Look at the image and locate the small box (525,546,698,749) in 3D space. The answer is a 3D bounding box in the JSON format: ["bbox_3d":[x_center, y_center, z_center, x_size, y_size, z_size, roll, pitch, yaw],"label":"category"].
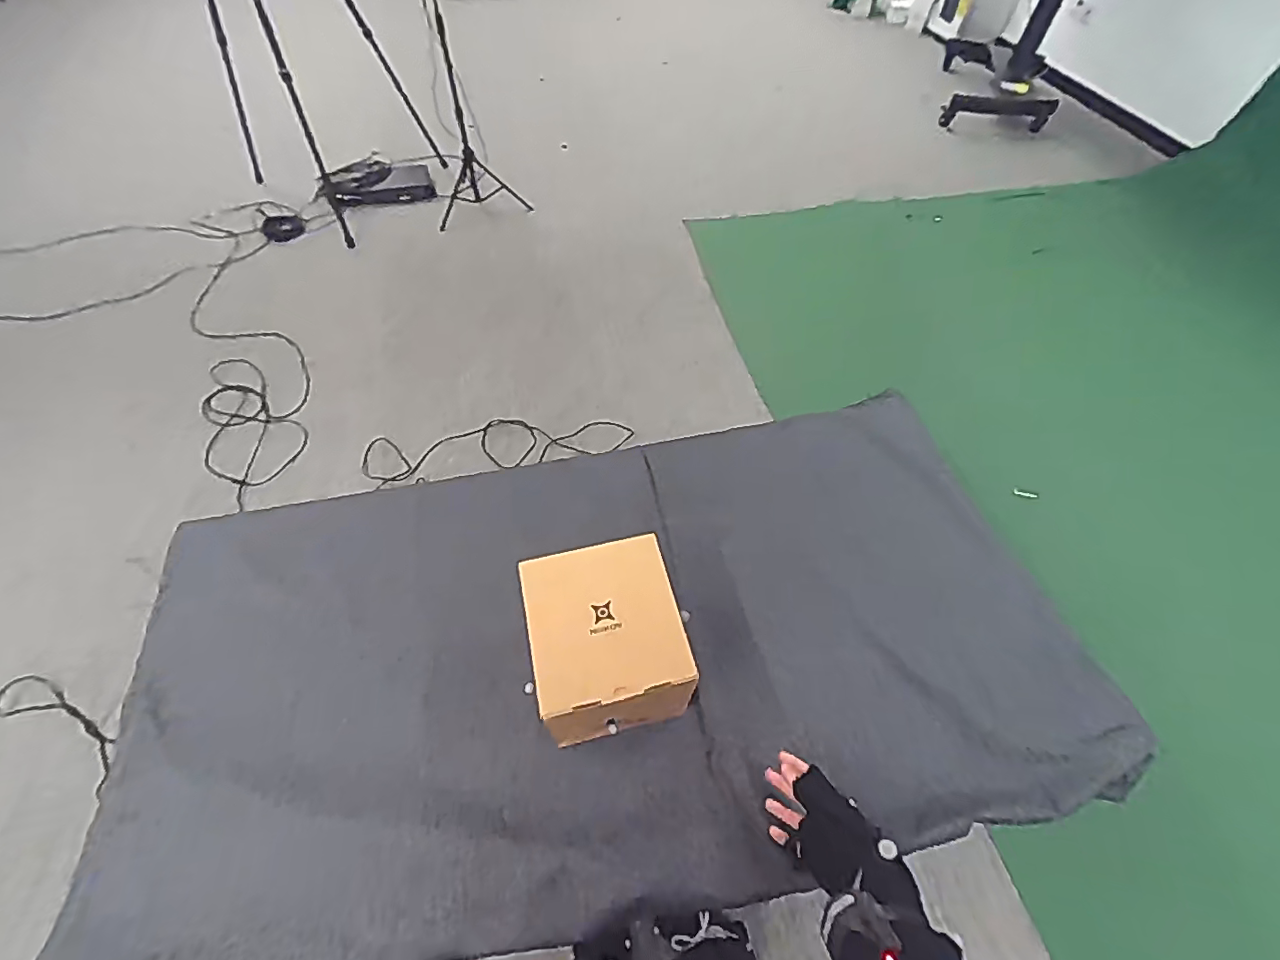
[{"bbox_3d":[-0.041,0.209,0.667,0.168,0.176,0.179,-11,57,-10],"label":"small box"}]
